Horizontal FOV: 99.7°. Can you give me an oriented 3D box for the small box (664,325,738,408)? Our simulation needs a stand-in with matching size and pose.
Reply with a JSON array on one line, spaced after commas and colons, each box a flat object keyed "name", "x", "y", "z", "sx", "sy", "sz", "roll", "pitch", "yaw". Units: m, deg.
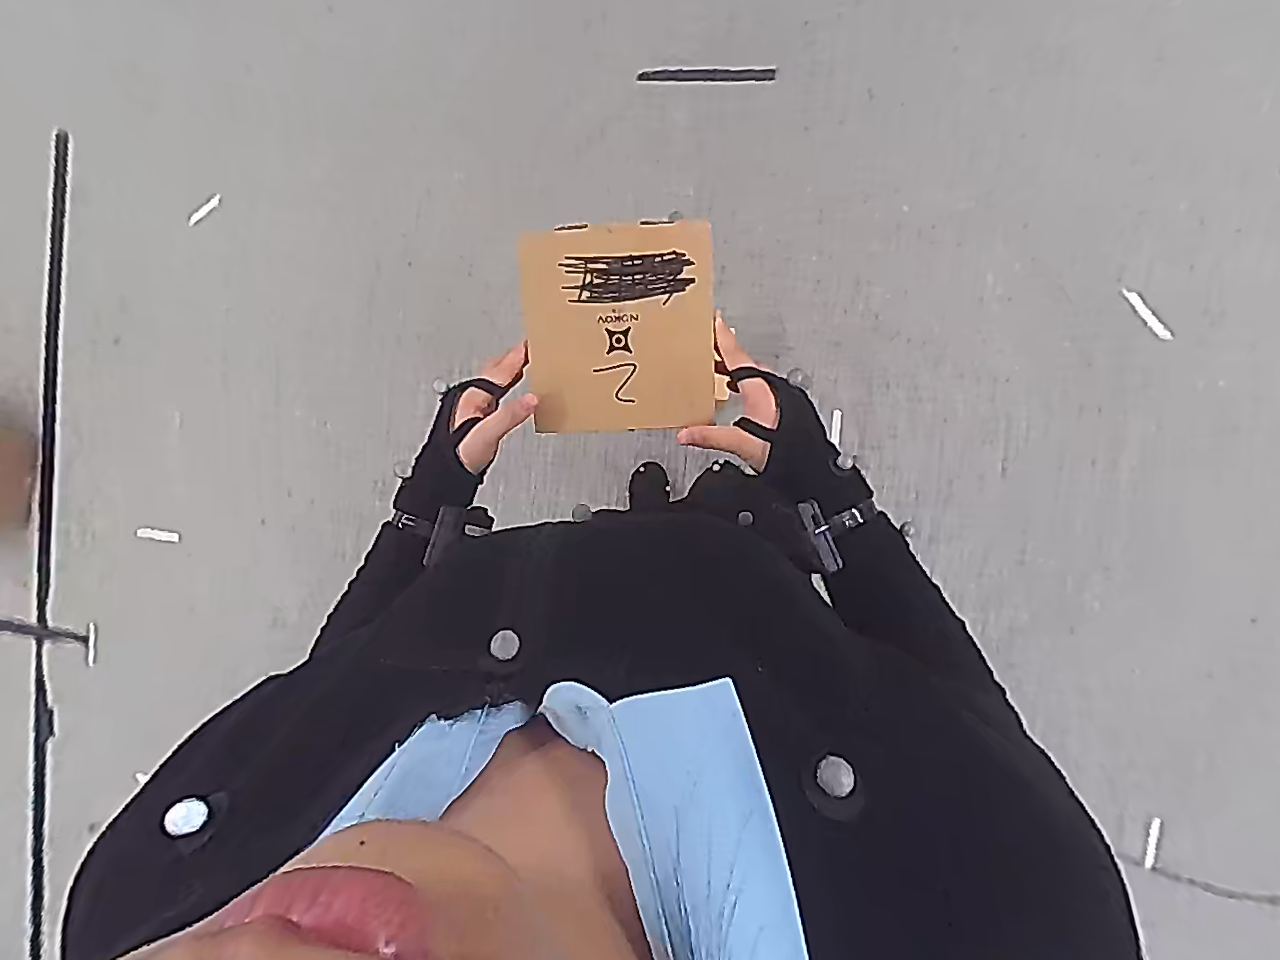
[{"name": "small box", "x": 0.155, "y": -0.285, "z": 1.384, "sx": 0.168, "sy": 0.176, "sz": 0.179, "roll": 5, "pitch": 93, "yaw": 7}]
